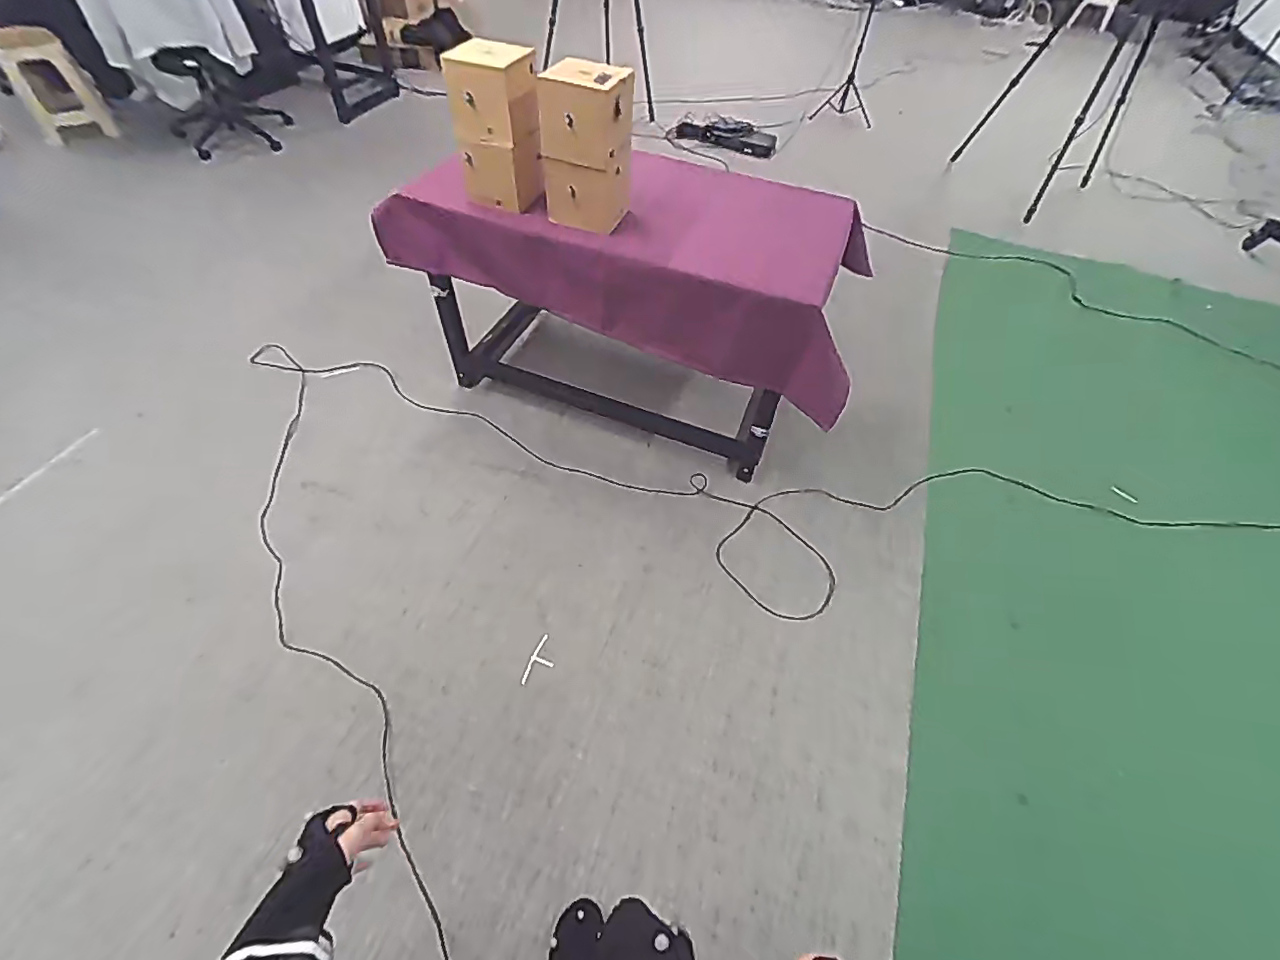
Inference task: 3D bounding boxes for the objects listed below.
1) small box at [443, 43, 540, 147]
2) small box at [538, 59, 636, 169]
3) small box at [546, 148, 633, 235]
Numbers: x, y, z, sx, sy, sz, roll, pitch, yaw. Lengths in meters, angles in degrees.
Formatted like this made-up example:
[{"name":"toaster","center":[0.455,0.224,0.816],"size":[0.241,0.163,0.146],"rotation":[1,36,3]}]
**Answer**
[{"name":"small box","center":[-0.360,-0.963,1.357],"size":[0.168,0.176,0.179],"rotation":[16,52,9]},{"name":"small box","center":[-0.122,-0.873,1.299],"size":[0.179,0.176,0.168],"rotation":[19,53,12]},{"name":"small box","center":[-0.129,-0.776,1.432],"size":[0.179,0.176,0.168],"rotation":[18,54,10]}]
